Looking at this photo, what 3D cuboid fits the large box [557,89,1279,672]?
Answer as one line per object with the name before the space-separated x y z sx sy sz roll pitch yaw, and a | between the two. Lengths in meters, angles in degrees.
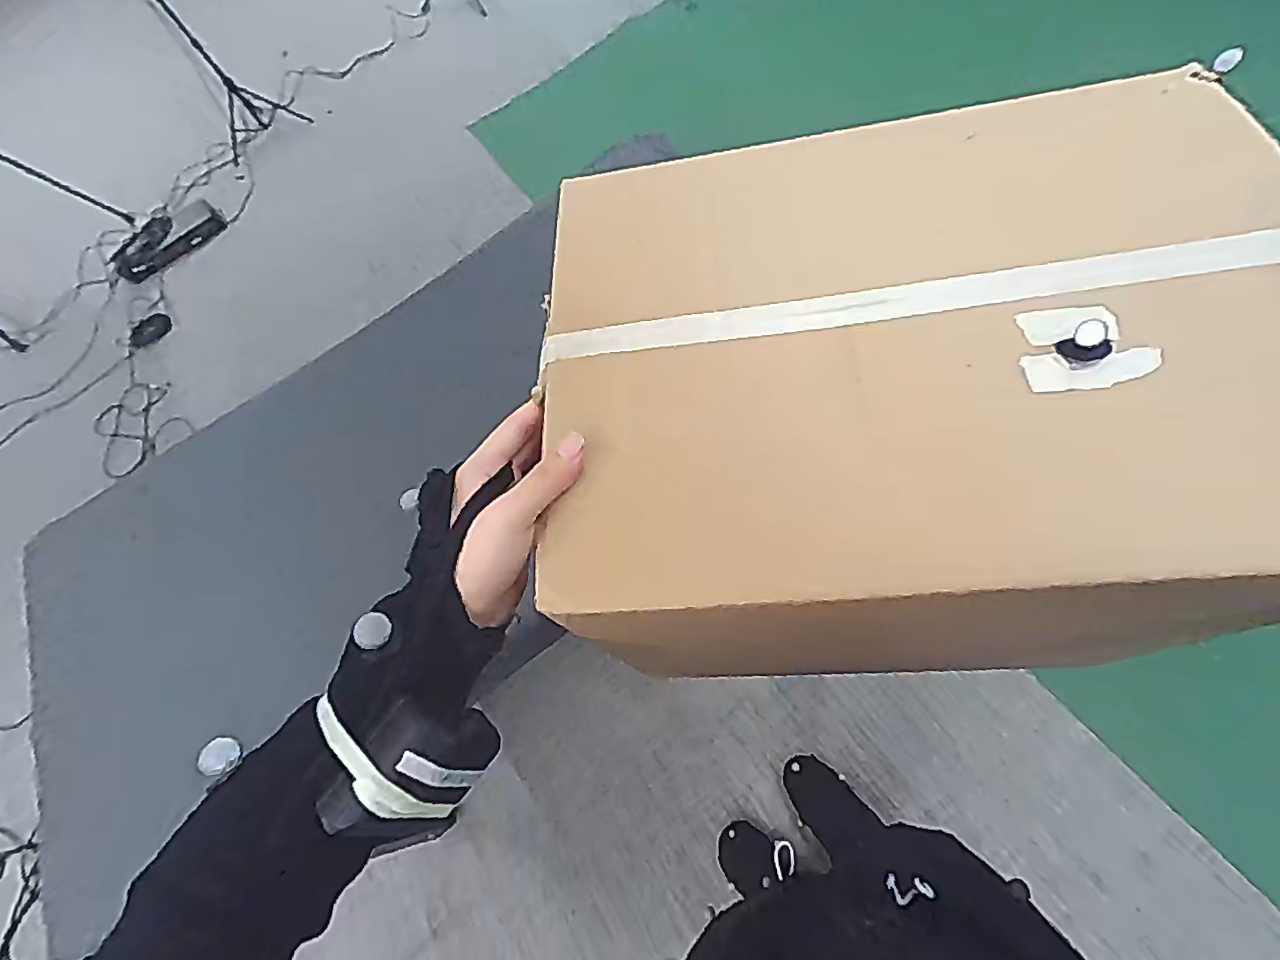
large box | 0.171 -0.034 0.439 0.408 0.320 0.320 -5 64 8
